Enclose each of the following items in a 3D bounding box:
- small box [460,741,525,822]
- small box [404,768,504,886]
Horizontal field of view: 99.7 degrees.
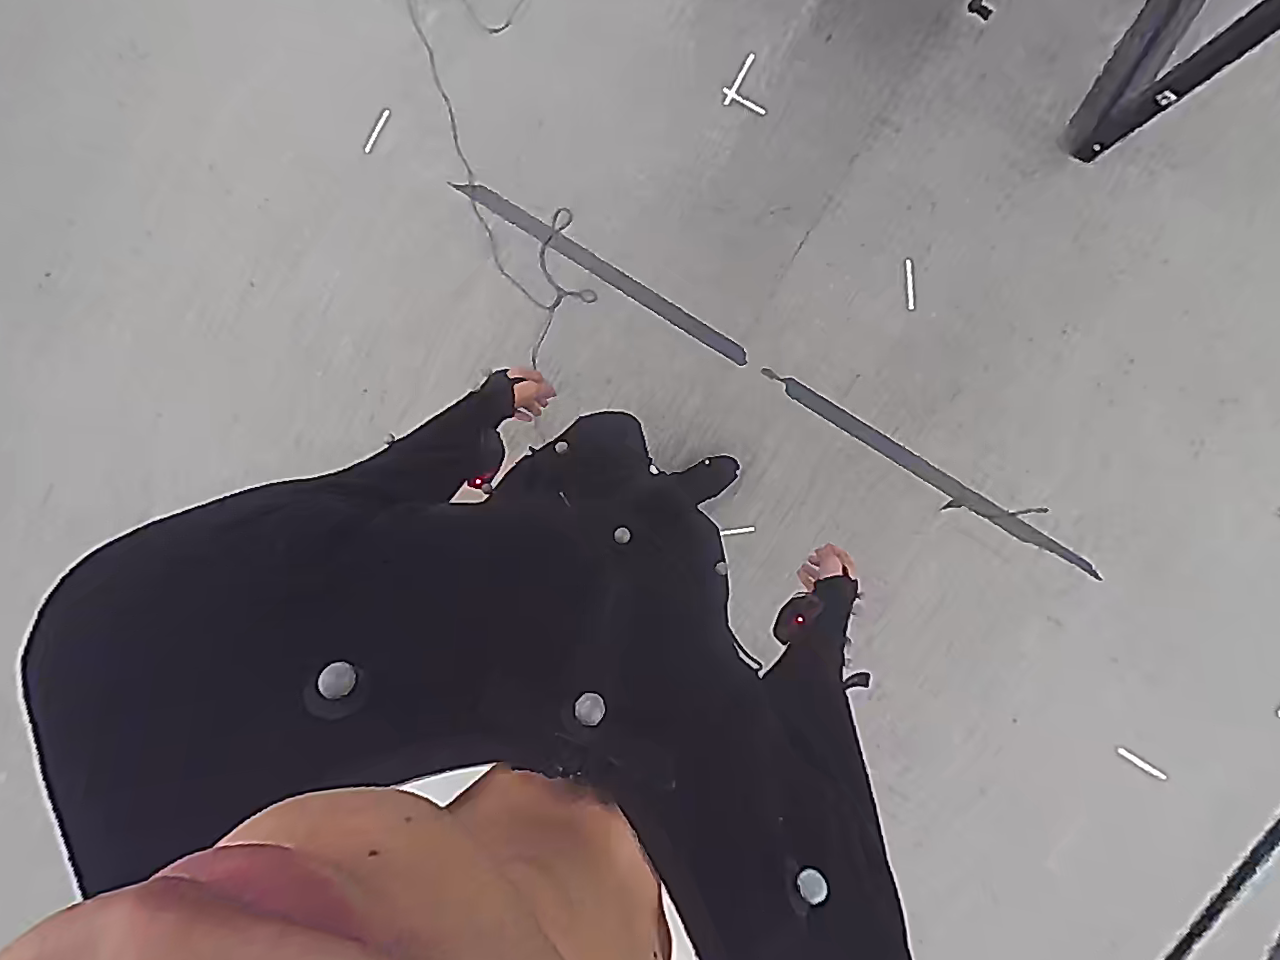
[{"bbox_3d":[-0.485,0.945,1.668,0.179,0.176,0.168,35,96,1],"label":"small box"},{"bbox_3d":[-0.507,0.955,1.504,0.168,0.176,0.179,35,96,1],"label":"small box"}]
